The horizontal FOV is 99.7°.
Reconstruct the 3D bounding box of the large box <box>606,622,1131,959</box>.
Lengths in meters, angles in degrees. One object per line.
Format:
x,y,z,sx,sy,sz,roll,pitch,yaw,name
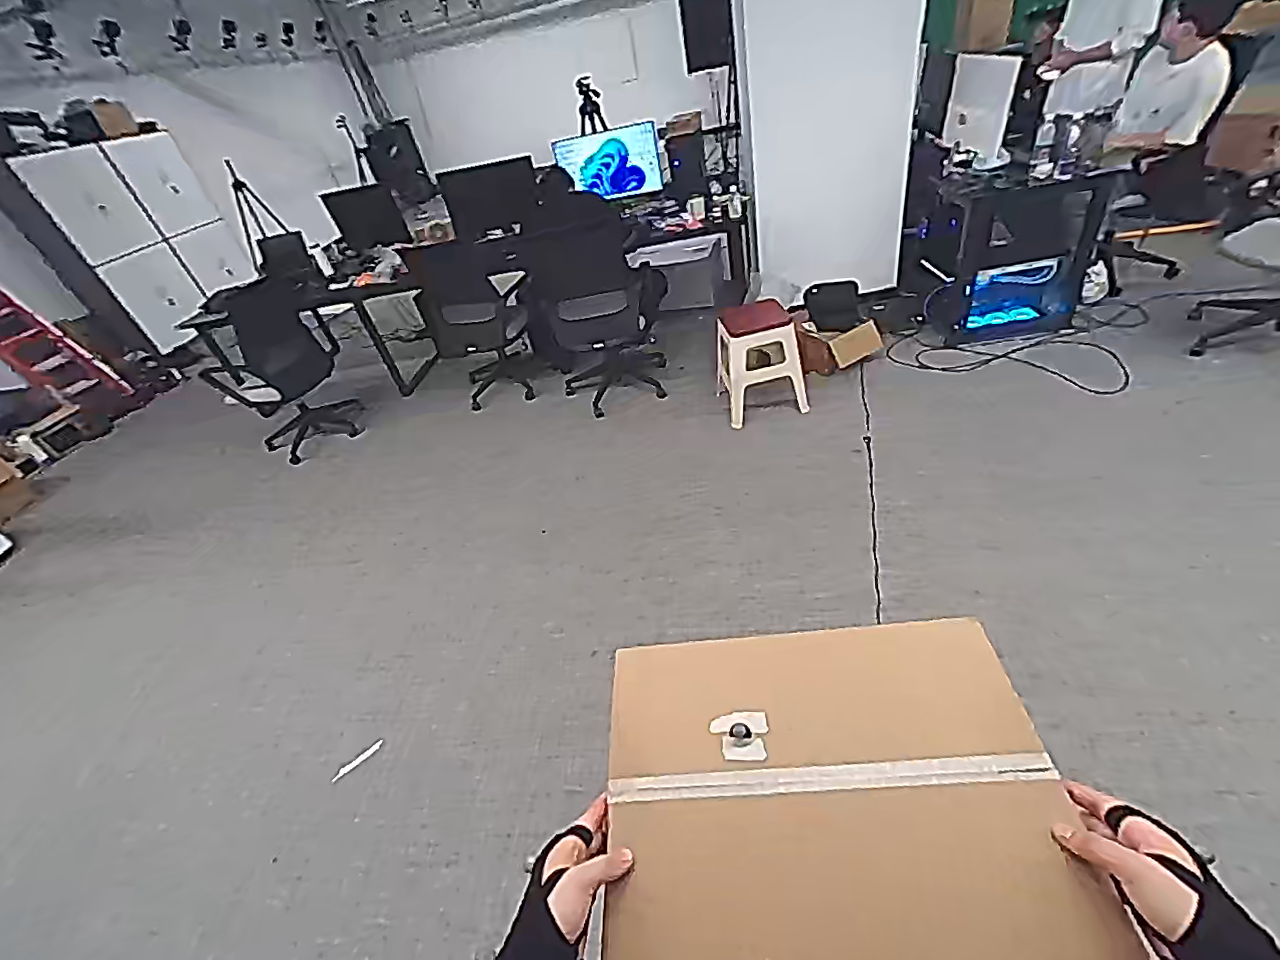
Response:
0.198,0.397,0.616,0.408,0.320,0.320,-8,42,9,large box
